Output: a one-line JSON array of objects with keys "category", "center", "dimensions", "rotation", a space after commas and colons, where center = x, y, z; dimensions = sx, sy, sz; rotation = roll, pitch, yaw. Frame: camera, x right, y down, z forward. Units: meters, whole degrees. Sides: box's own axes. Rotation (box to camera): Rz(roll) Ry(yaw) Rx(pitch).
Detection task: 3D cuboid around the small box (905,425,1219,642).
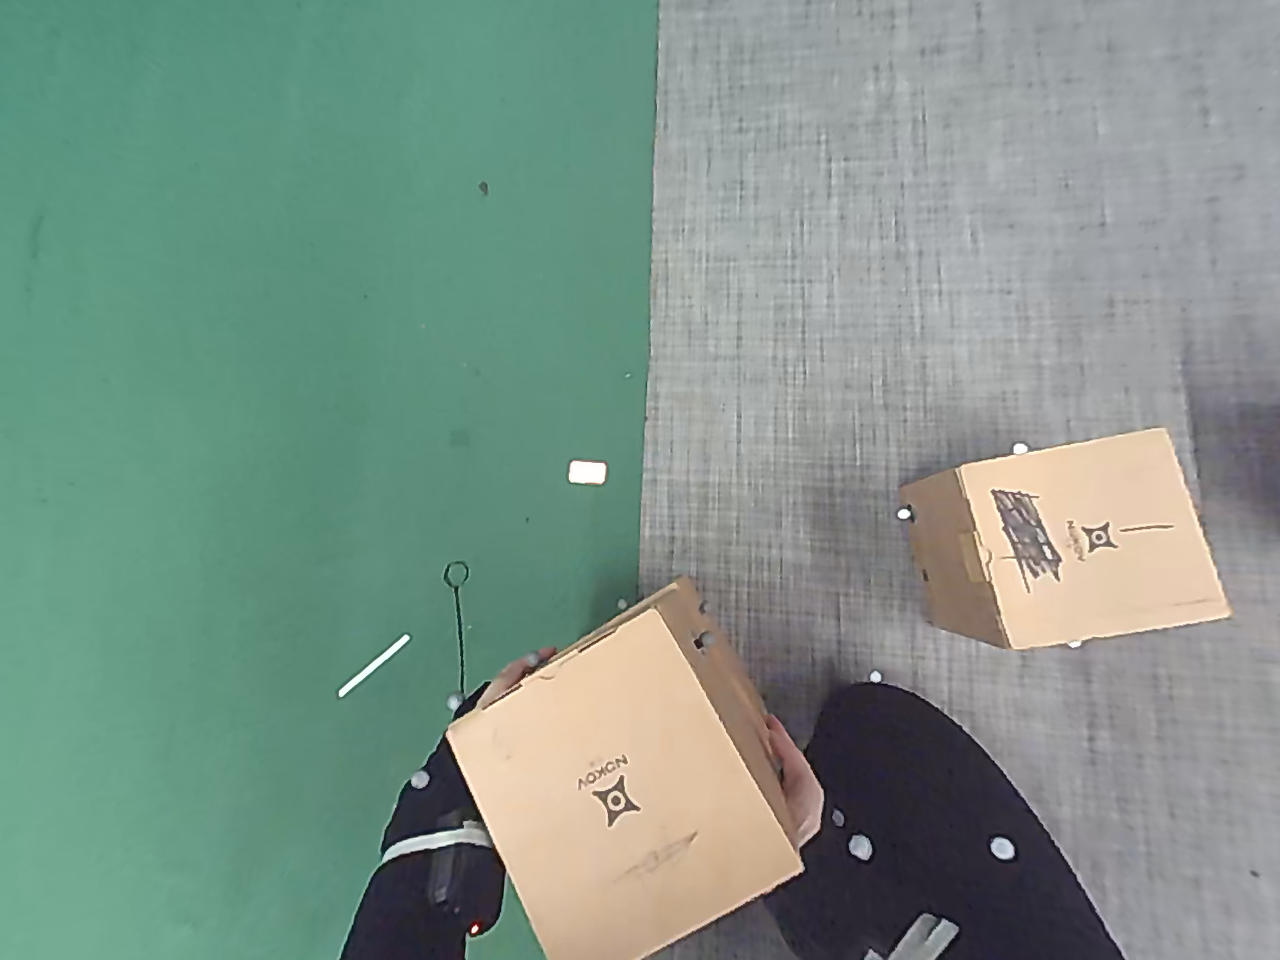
[{"category": "small box", "center": [0.391, 0.058, 0.546], "dimensions": [0.179, 0.176, 0.168], "rotation": [-12, 80, 6]}]
